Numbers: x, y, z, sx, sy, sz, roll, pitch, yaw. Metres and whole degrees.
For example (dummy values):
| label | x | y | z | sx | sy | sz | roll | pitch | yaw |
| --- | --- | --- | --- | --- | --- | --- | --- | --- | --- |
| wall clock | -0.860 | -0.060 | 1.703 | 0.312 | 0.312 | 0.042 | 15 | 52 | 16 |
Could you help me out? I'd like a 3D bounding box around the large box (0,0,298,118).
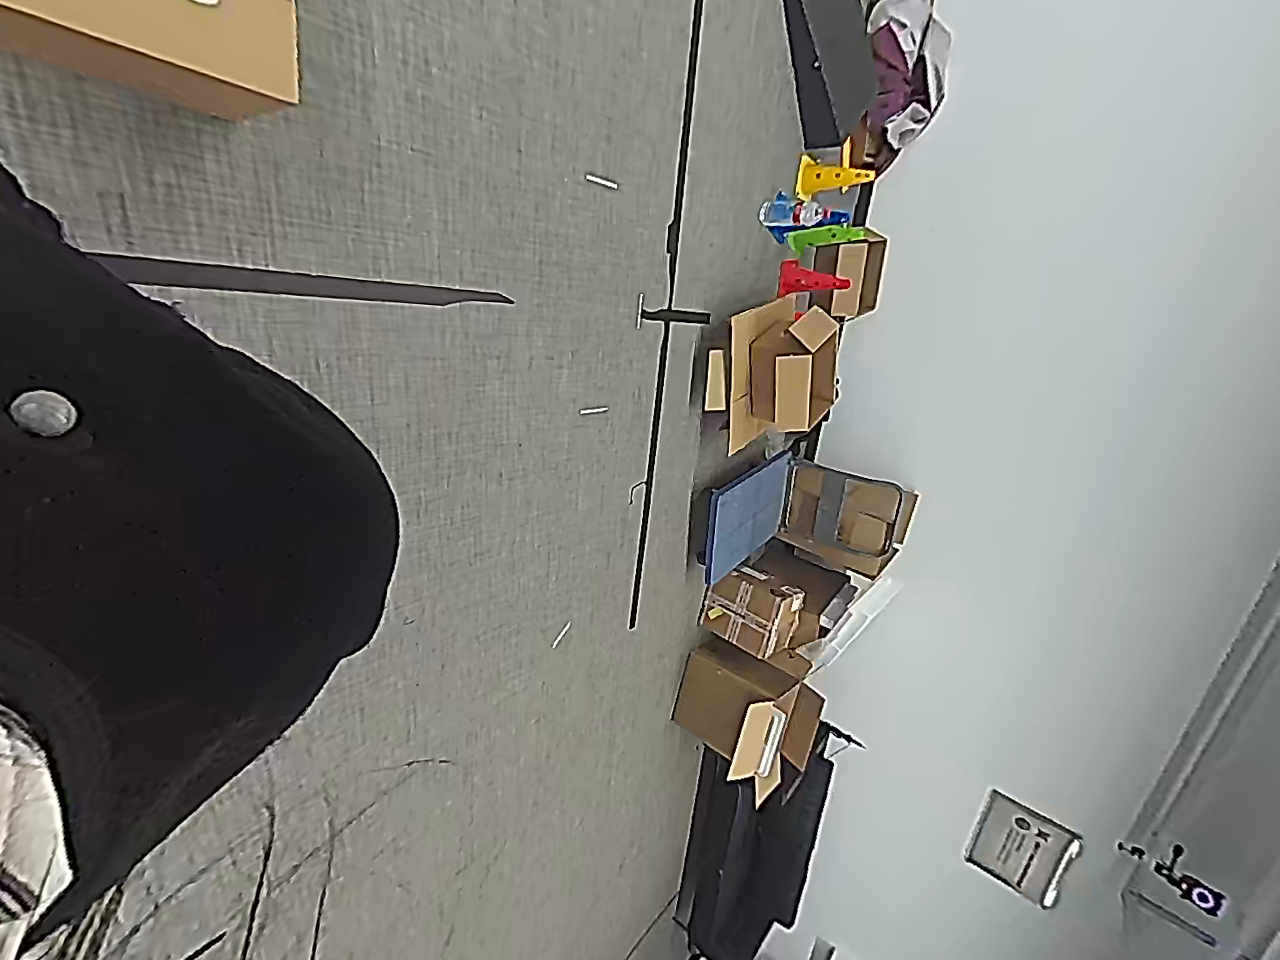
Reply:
| label | x | y | z | sx | sy | sz | roll | pitch | yaw |
| --- | --- | --- | --- | --- | --- | --- | --- | --- | --- |
| large box | -0.805 | -0.797 | 0.810 | 0.408 | 0.320 | 0.320 | -14 | 118 | -51 |
